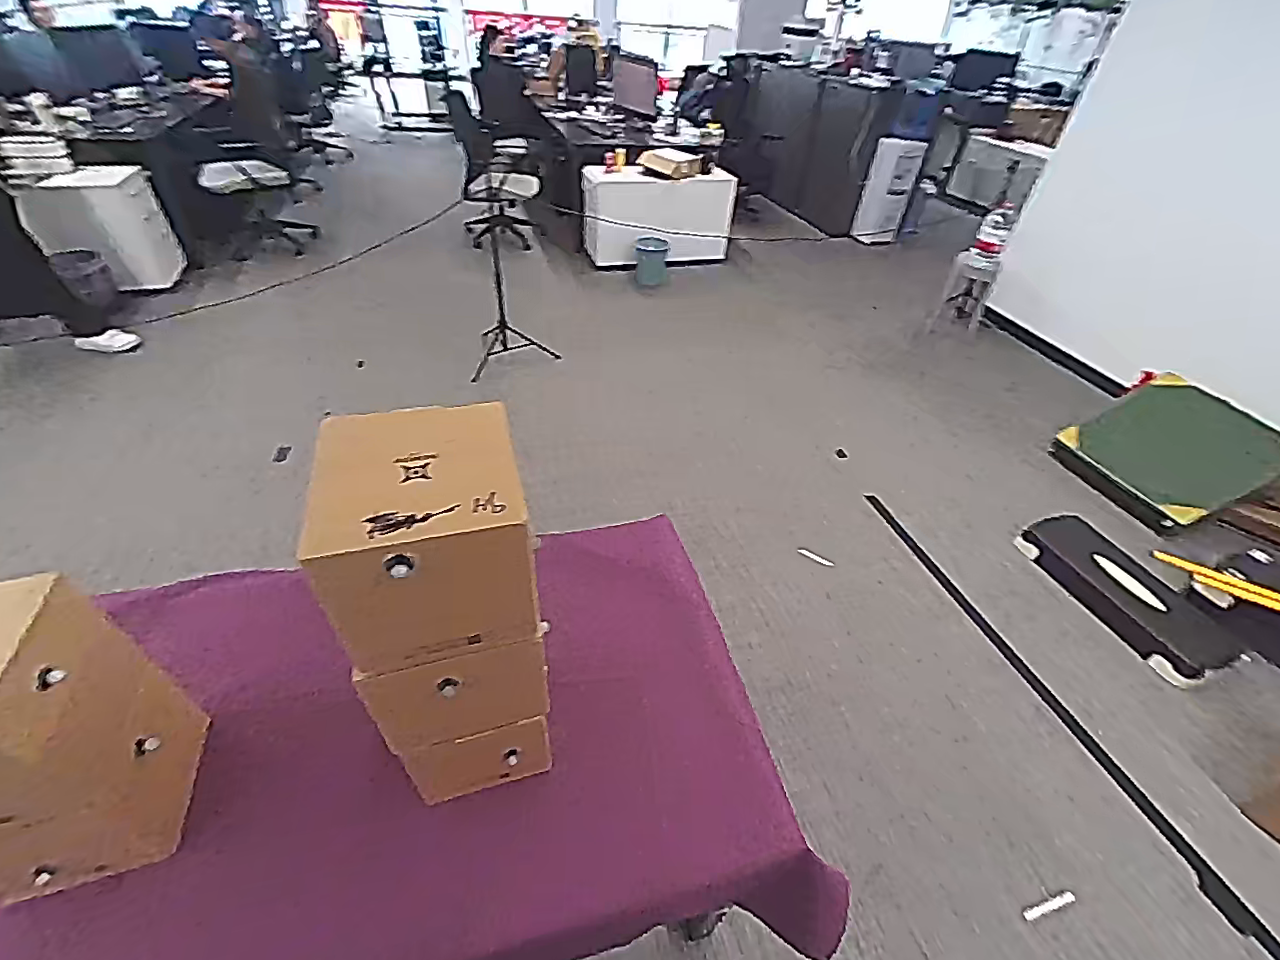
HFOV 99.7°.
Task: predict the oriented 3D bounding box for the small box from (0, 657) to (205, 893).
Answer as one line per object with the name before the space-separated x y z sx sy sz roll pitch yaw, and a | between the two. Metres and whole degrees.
small box | -0.657 0.343 0.638 0.168 0.176 0.179 -9 45 -16

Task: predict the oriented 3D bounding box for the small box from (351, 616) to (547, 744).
small box | -0.209 0.175 0.622 0.179 0.176 0.168 -9 45 -16

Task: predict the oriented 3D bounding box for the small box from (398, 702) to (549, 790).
small box | -0.220 0.294 0.734 0.168 0.176 0.179 -8 43 -15

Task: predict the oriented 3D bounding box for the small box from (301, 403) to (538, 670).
small box | -0.194 0.049 0.518 0.168 0.176 0.179 -9 44 -15

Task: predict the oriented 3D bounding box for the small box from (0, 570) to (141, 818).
small box | -0.646 0.221 0.528 0.168 0.176 0.179 -10 44 -17
